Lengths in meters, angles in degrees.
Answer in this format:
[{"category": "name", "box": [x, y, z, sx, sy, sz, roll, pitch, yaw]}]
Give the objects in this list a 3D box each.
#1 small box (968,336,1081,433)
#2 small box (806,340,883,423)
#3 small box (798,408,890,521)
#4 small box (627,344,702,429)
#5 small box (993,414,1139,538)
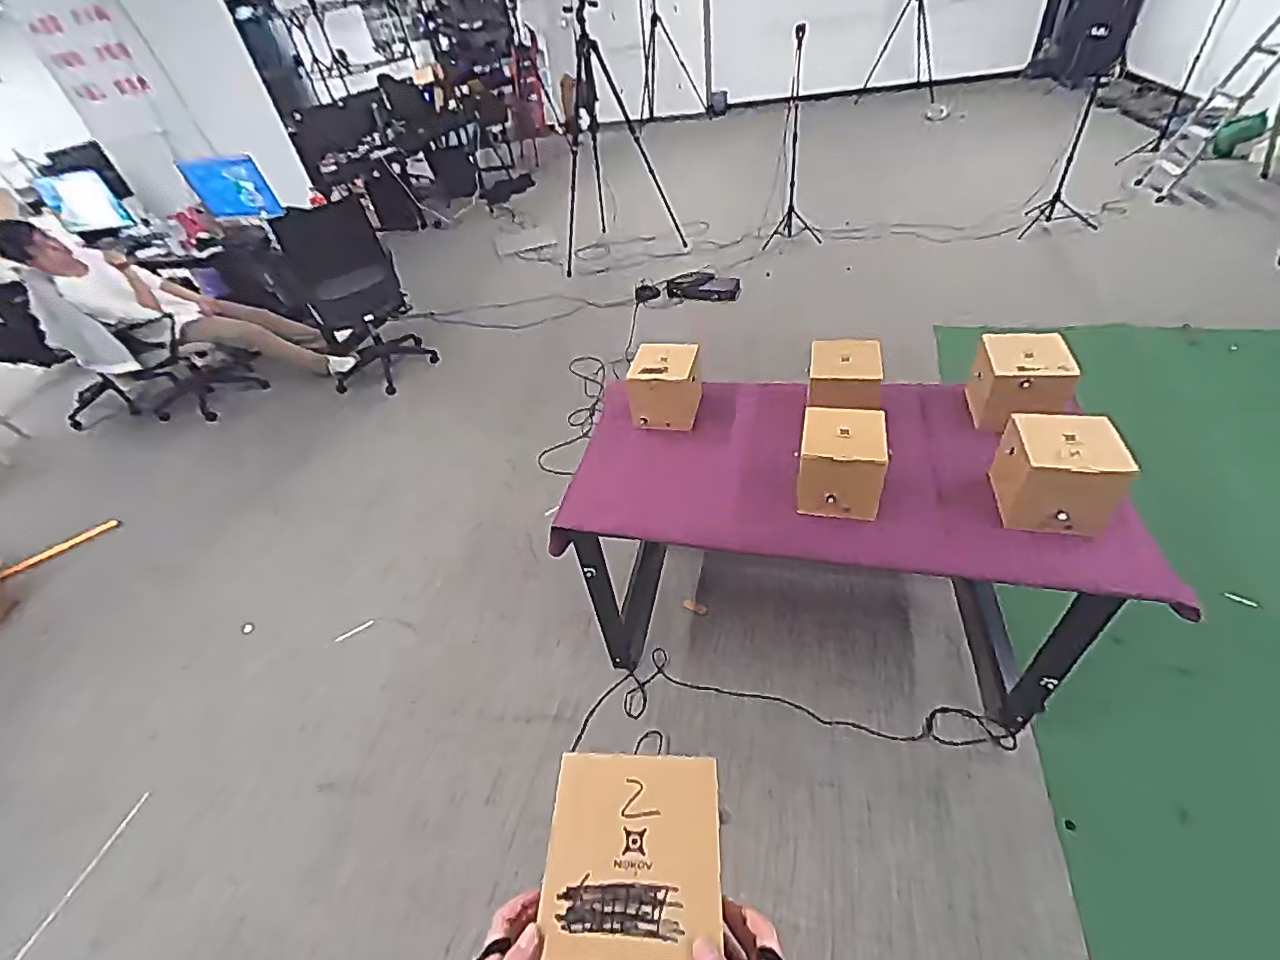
[{"category": "small box", "box": [0.909, -0.230, 1.300, 0.168, 0.176, 0.179, 3, 45, 17]}, {"category": "small box", "box": [0.522, -0.240, 1.392, 0.168, 0.176, 0.179, 5, 46, 16]}, {"category": "small box", "box": [0.440, -0.037, 1.186, 0.168, 0.176, 0.179, 6, 44, 16]}, {"category": "small box", "box": [0.075, -0.257, 1.489, 0.168, 0.176, 0.179, 5, 45, 15]}, {"category": "small box", "box": [0.829, -0.011, 1.078, 0.168, 0.176, 0.179, 5, 43, 17]}]
